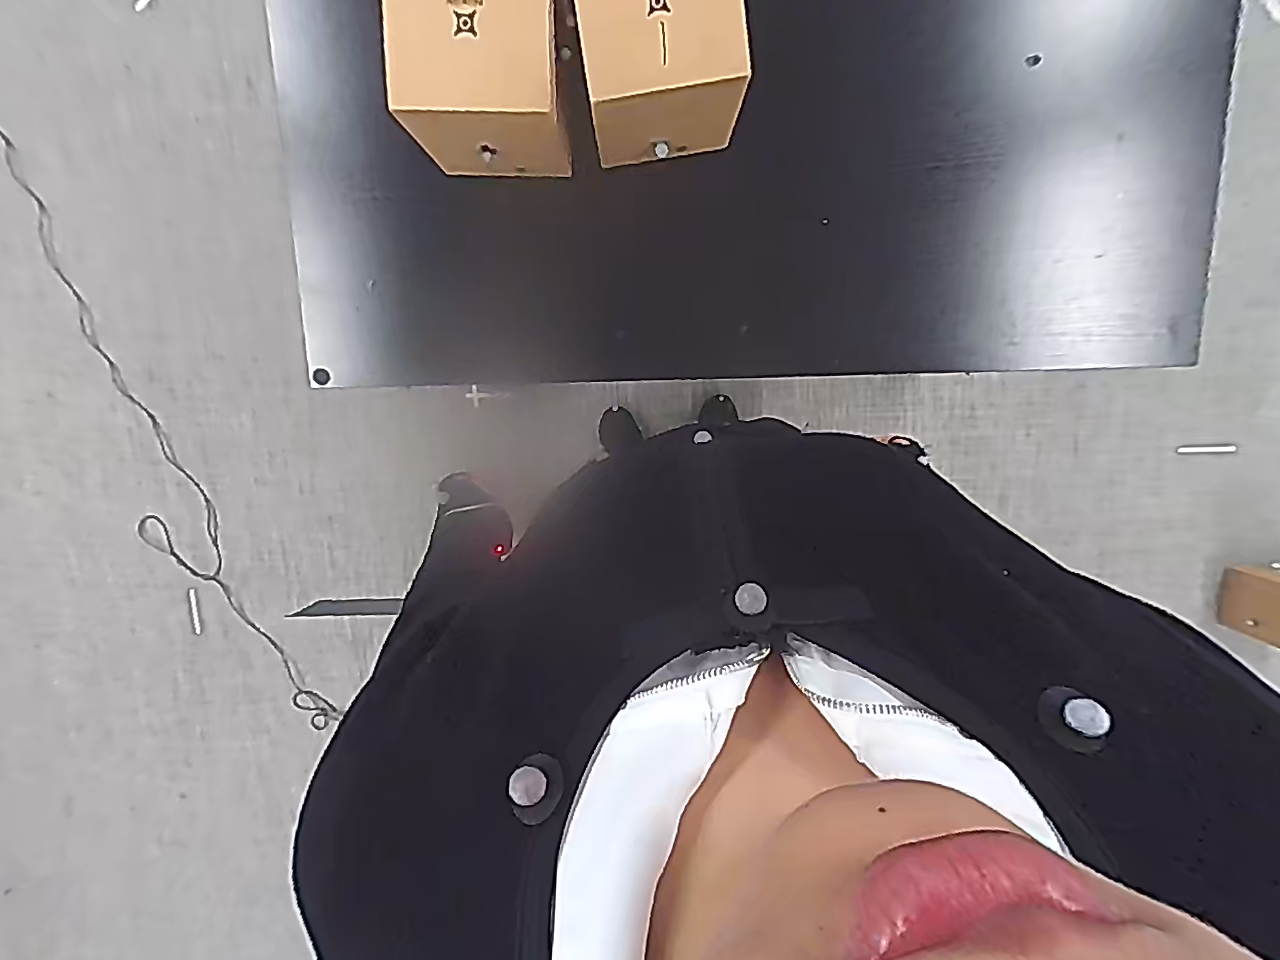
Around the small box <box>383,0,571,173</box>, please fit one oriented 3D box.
[{"bbox_3d":[-0.170,-0.470,0.613,0.168,0.176,0.179,1,98,0],"label":"small box"}]

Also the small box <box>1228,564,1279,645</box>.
[{"bbox_3d":[1.733,0.332,1.435,0.168,0.176,0.179,-2,98,1],"label":"small box"}]
